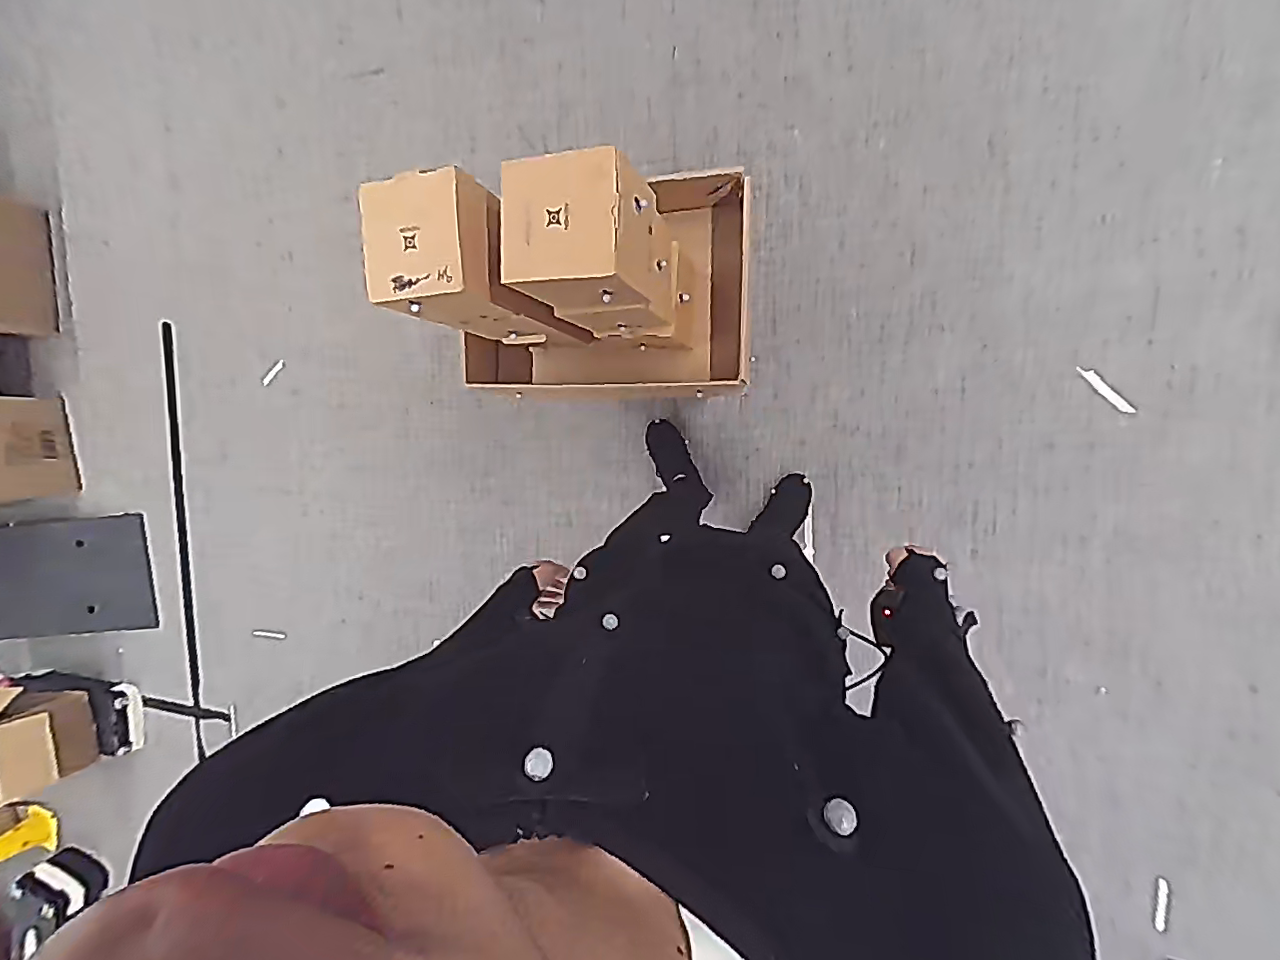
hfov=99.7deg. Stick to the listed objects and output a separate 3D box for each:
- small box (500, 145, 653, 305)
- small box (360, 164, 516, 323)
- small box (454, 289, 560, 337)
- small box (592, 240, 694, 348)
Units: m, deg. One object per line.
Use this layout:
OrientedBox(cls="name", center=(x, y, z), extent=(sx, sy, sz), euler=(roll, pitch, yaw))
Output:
OrientedBox(cls="small box", center=(-0.086, -0.359, 0.795), extent=(0.179, 0.176, 0.168), euler=(4, 96, 19))
OrientedBox(cls="small box", center=(-0.310, -0.359, 0.854), extent=(0.168, 0.176, 0.179), euler=(0, 94, 17))
OrientedBox(cls="small box", center=(-0.258, -0.374, 1.011), extent=(0.168, 0.176, 0.179), euler=(0, 96, 16))
OrientedBox(cls="small box", center=(0.012, -0.372, 1.107), extent=(0.168, 0.176, 0.179), euler=(4, 97, 18))
